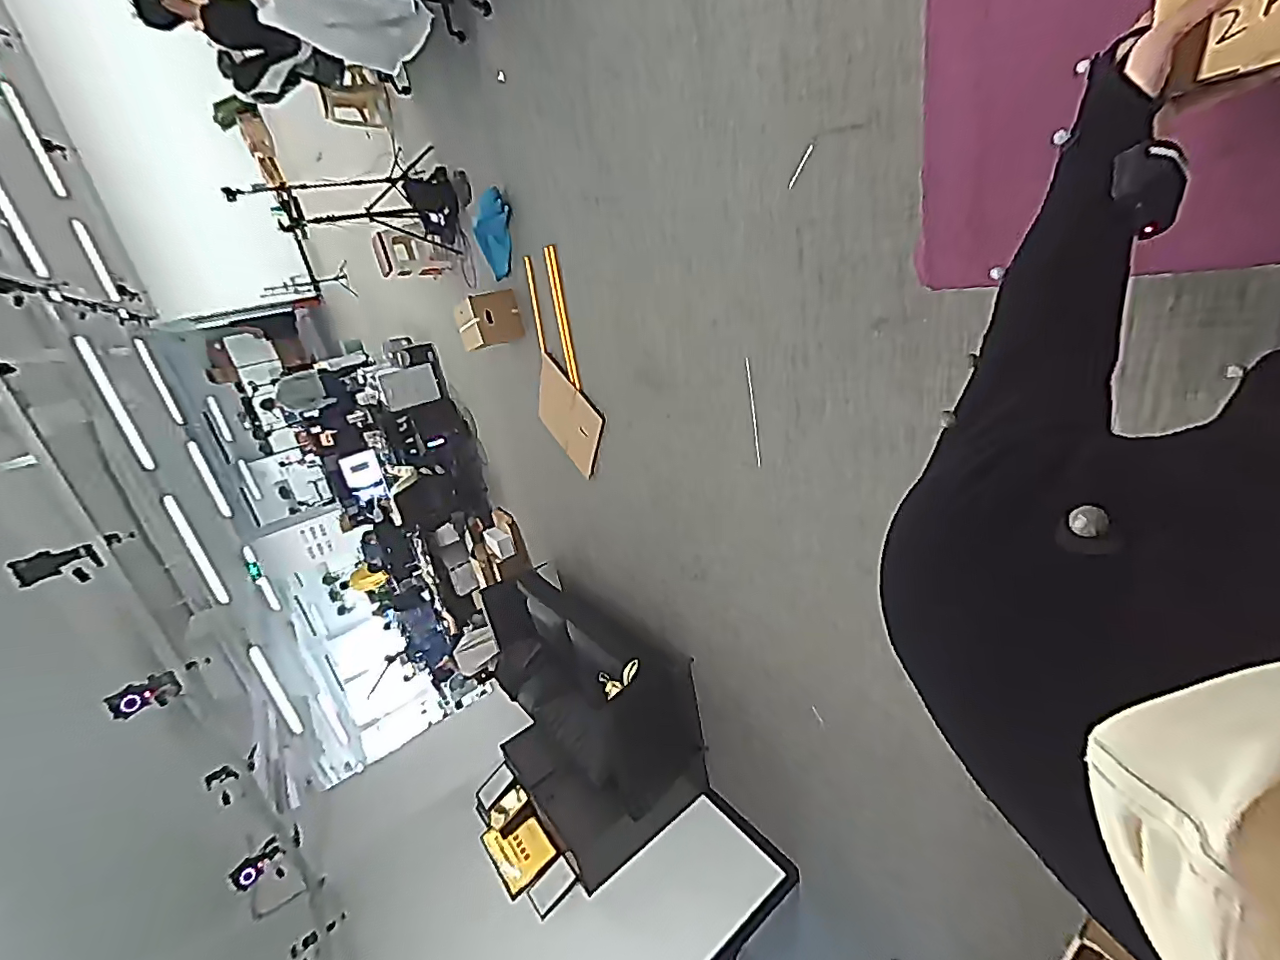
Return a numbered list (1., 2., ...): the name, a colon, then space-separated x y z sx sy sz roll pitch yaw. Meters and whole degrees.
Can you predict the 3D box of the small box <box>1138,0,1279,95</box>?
1. small box: 0.551 -0.438 0.437 0.168 0.176 0.179 21 129 53
